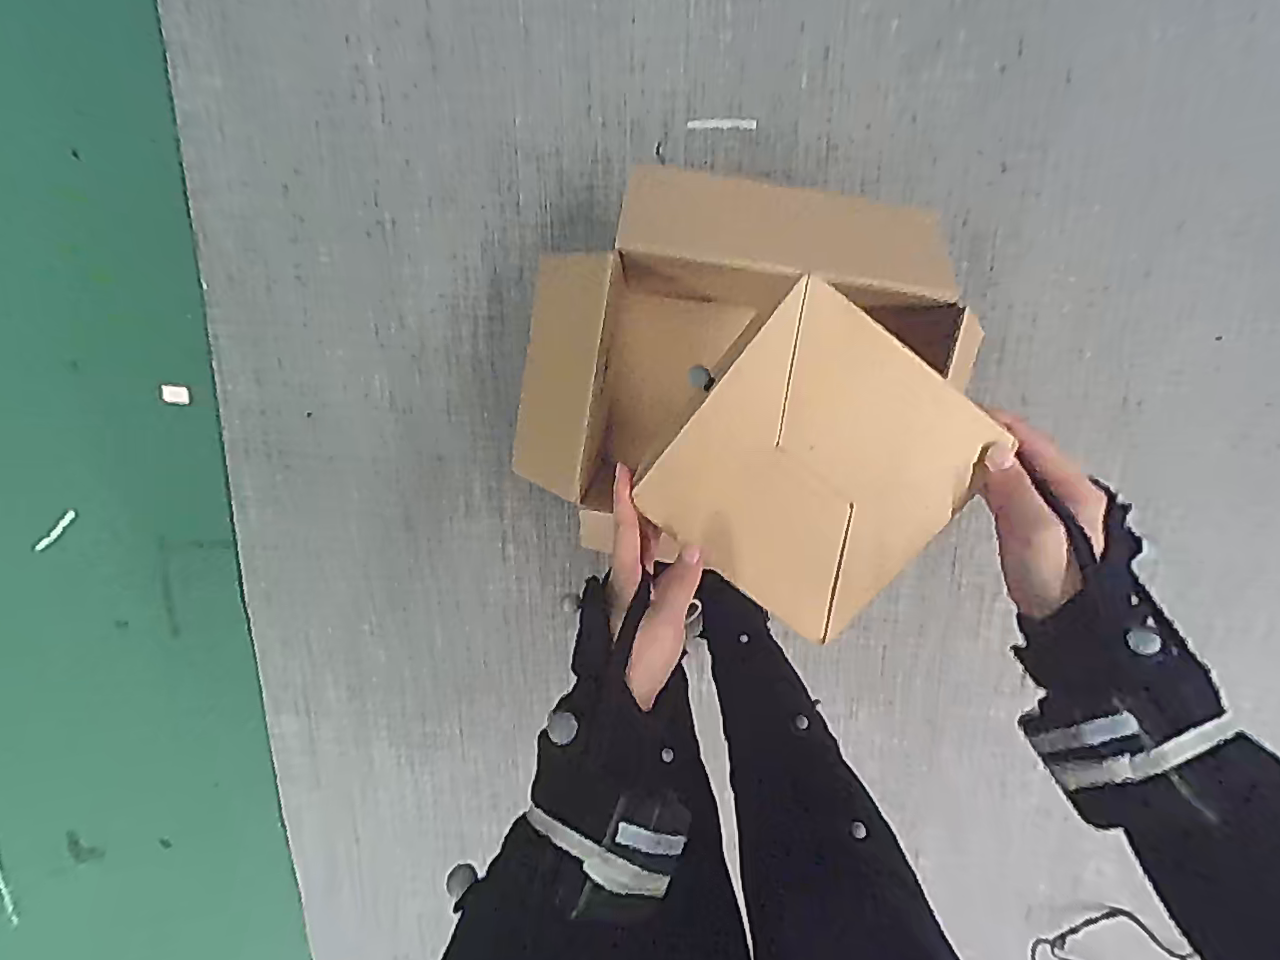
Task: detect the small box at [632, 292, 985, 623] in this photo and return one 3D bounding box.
[{"bbox_3d":[0.112,-0.026,0.418,0.168,0.176,0.179,37,104,-4],"label":"small box"}]
